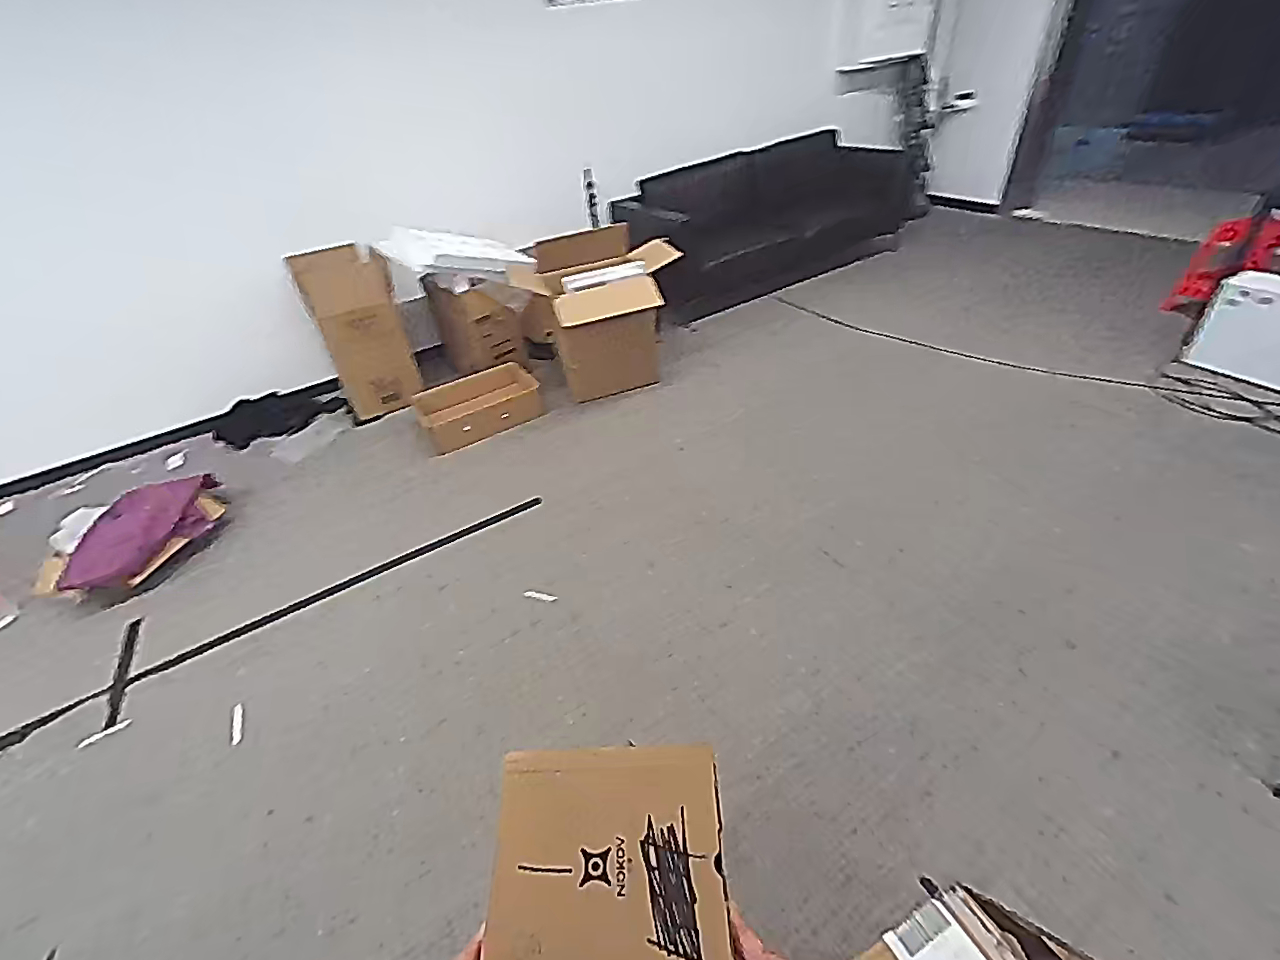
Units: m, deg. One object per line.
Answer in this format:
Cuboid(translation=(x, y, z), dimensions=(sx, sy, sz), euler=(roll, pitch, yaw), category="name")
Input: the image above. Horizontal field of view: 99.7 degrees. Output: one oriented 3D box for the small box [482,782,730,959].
Cuboid(translation=(-0.023, 0.362, 0.459), dimensions=(0.179, 0.176, 0.168), euler=(-3, 52, 1), category="small box")
